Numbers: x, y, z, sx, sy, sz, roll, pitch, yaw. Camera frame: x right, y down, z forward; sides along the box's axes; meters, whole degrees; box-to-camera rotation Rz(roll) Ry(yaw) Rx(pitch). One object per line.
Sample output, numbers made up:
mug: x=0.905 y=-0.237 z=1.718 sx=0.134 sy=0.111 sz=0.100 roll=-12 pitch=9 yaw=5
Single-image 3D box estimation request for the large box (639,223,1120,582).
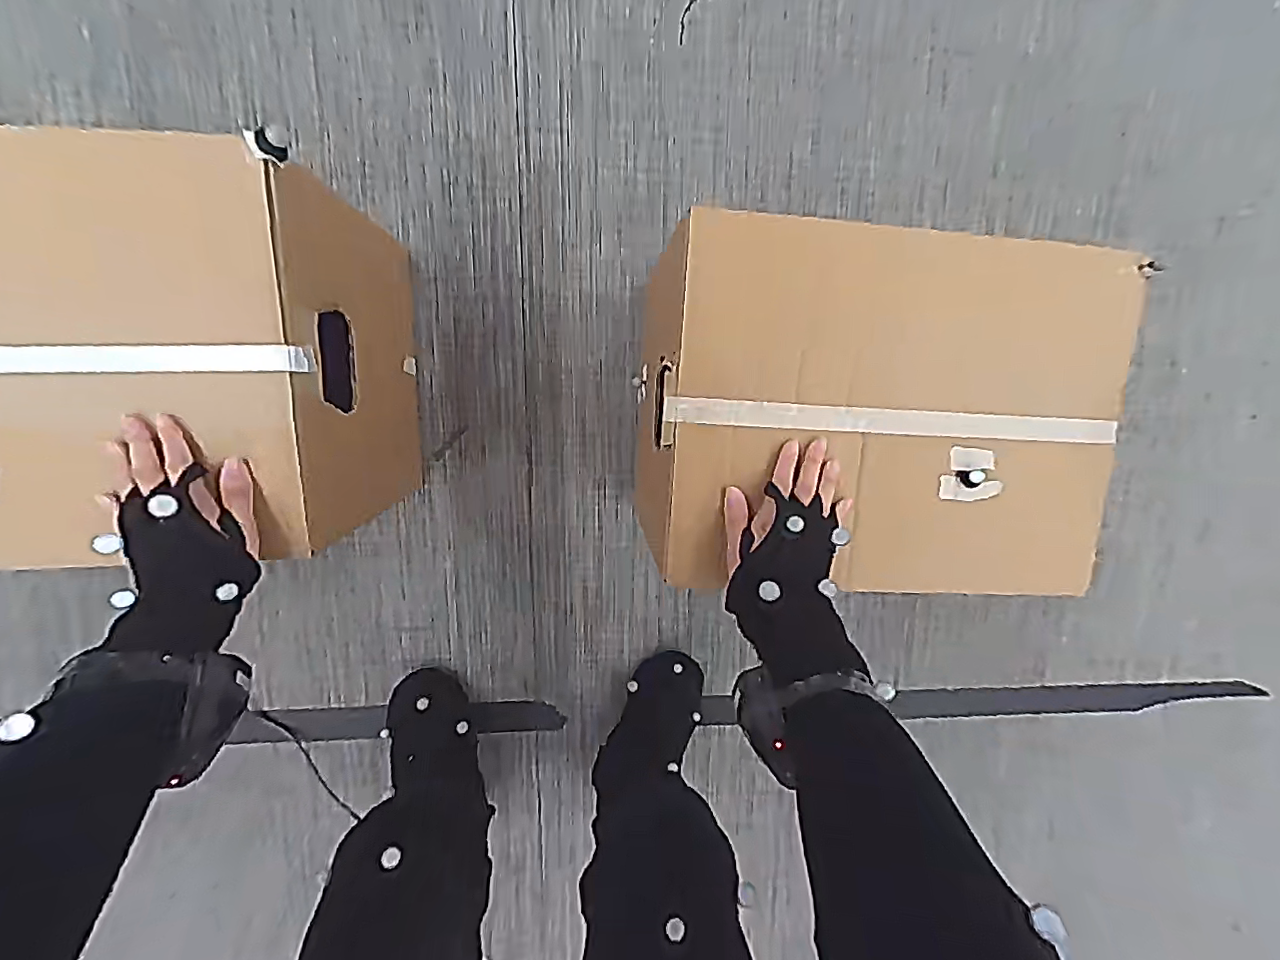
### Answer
large box: x=0.216 y=-0.078 z=0.634 sx=0.408 sy=0.320 sz=0.320 roll=2 pitch=100 yaw=-7
